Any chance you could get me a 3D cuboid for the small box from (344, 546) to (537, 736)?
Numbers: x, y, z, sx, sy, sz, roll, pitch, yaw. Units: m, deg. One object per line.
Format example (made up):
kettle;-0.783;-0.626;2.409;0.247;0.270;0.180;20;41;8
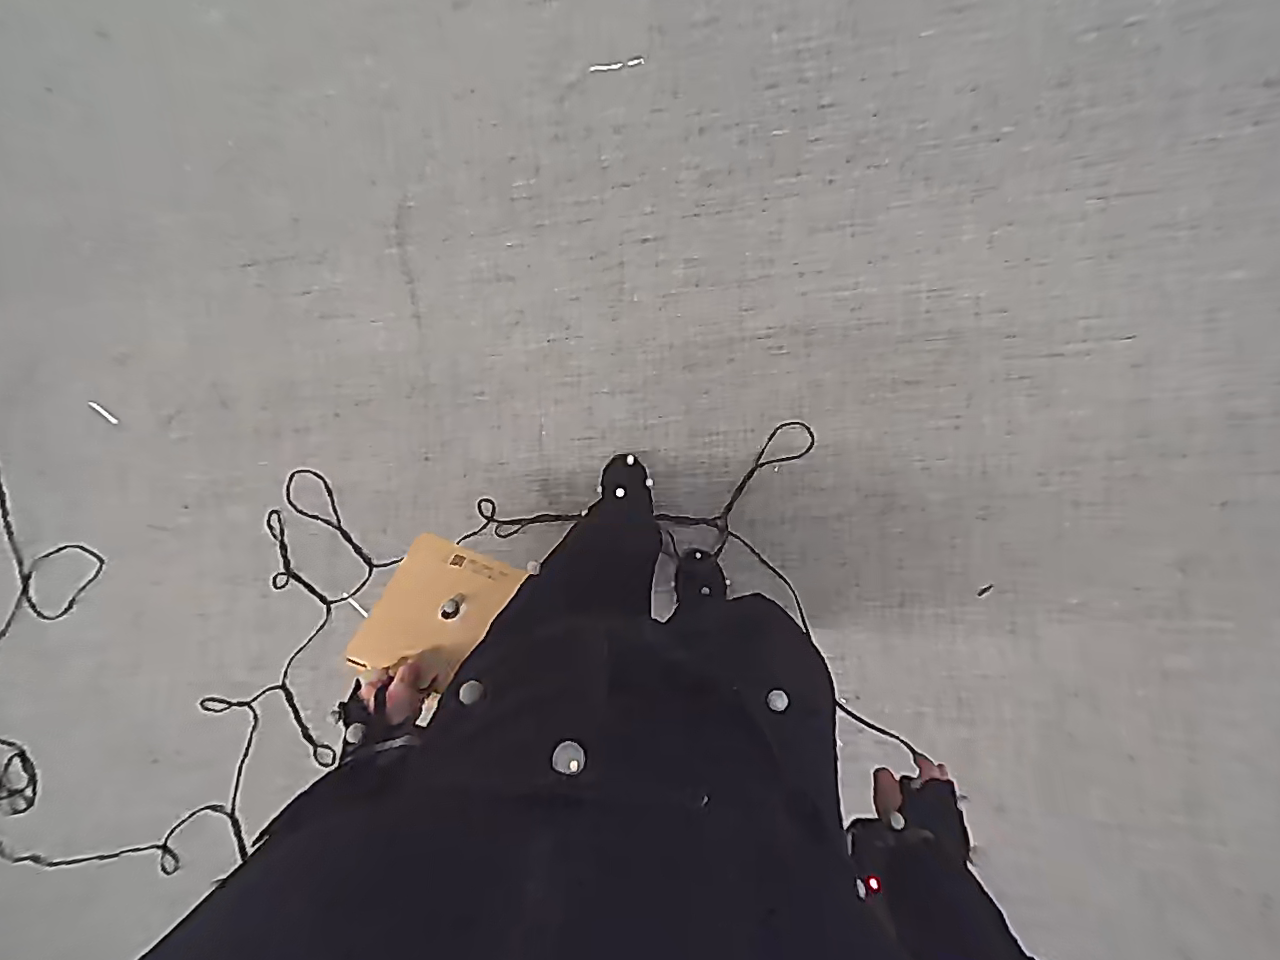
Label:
small box;-0.243;0.210;0.706;0.168;0.179;0.176;21;56;0
